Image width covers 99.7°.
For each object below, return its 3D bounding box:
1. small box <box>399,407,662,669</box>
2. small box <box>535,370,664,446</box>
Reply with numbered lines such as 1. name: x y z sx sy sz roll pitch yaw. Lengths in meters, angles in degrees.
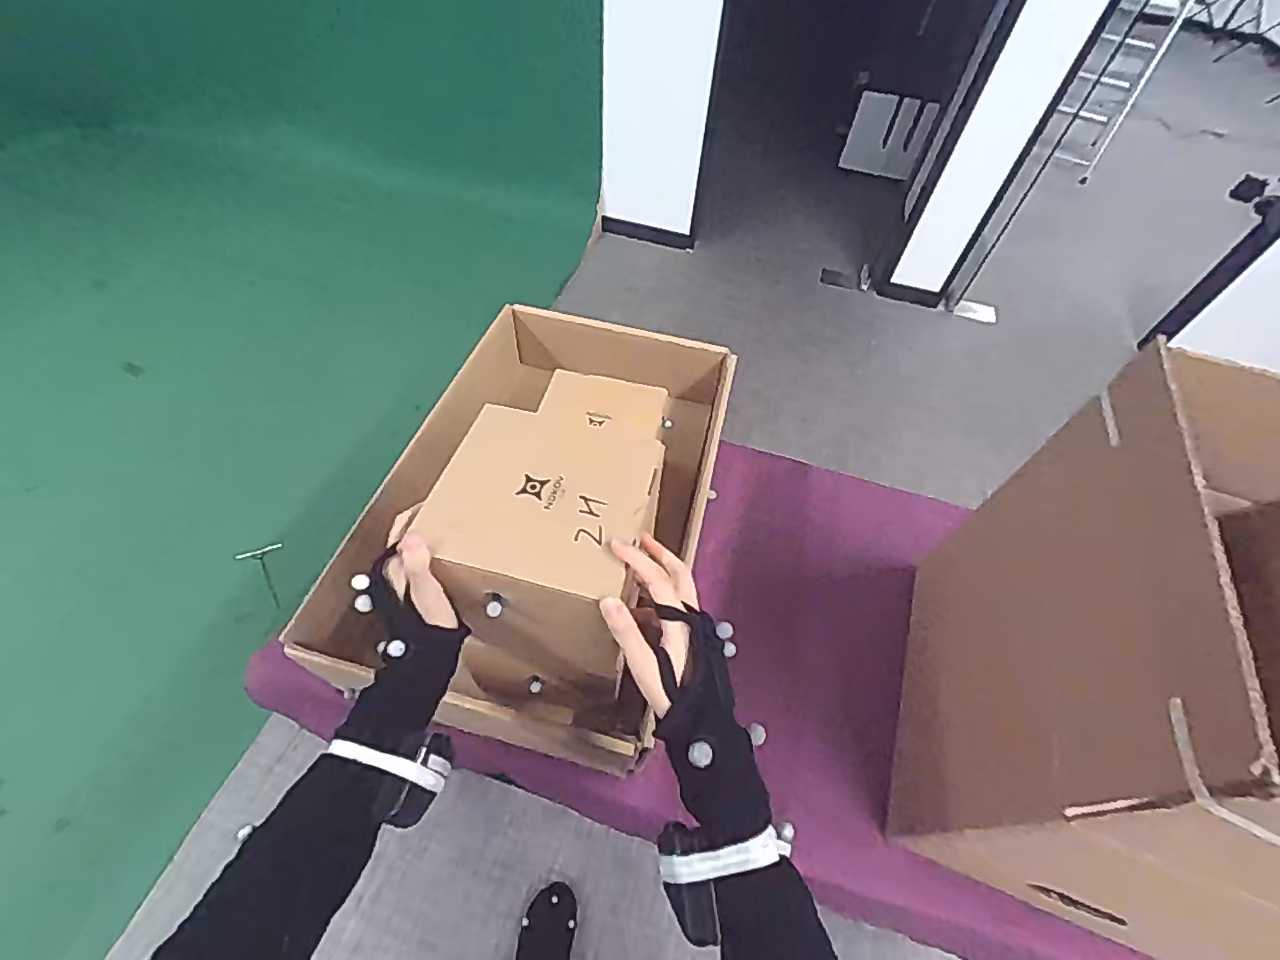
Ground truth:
1. small box: -0.087 0.060 0.515 0.179 0.176 0.168 14 54 6
2. small box: -0.063 -0.030 0.790 0.168 0.176 0.179 11 54 5
